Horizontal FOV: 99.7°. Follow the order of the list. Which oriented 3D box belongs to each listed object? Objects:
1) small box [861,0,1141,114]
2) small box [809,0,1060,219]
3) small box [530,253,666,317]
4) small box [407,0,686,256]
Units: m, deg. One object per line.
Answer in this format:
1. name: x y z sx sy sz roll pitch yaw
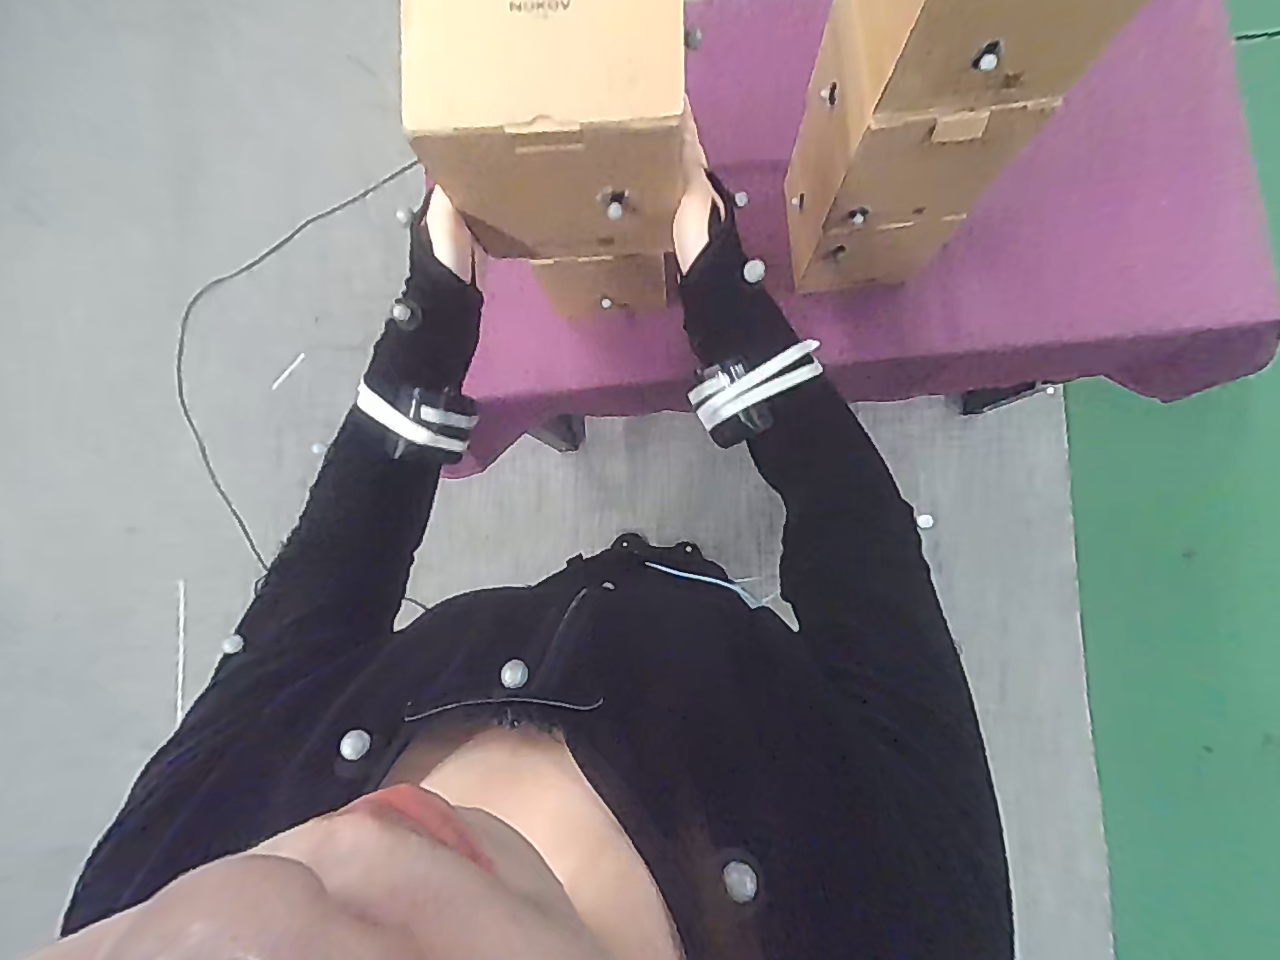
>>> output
1. small box: 0.271 -0.418 0.397 0.168 0.176 0.179 -6 85 4
2. small box: 0.281 -0.393 0.558 0.168 0.176 0.179 -5 84 4
3. small box: -0.051 -0.345 0.744 0.168 0.176 0.179 -4 85 5
4. small box: -0.050 -0.278 0.394 0.168 0.176 0.179 -1 87 3
